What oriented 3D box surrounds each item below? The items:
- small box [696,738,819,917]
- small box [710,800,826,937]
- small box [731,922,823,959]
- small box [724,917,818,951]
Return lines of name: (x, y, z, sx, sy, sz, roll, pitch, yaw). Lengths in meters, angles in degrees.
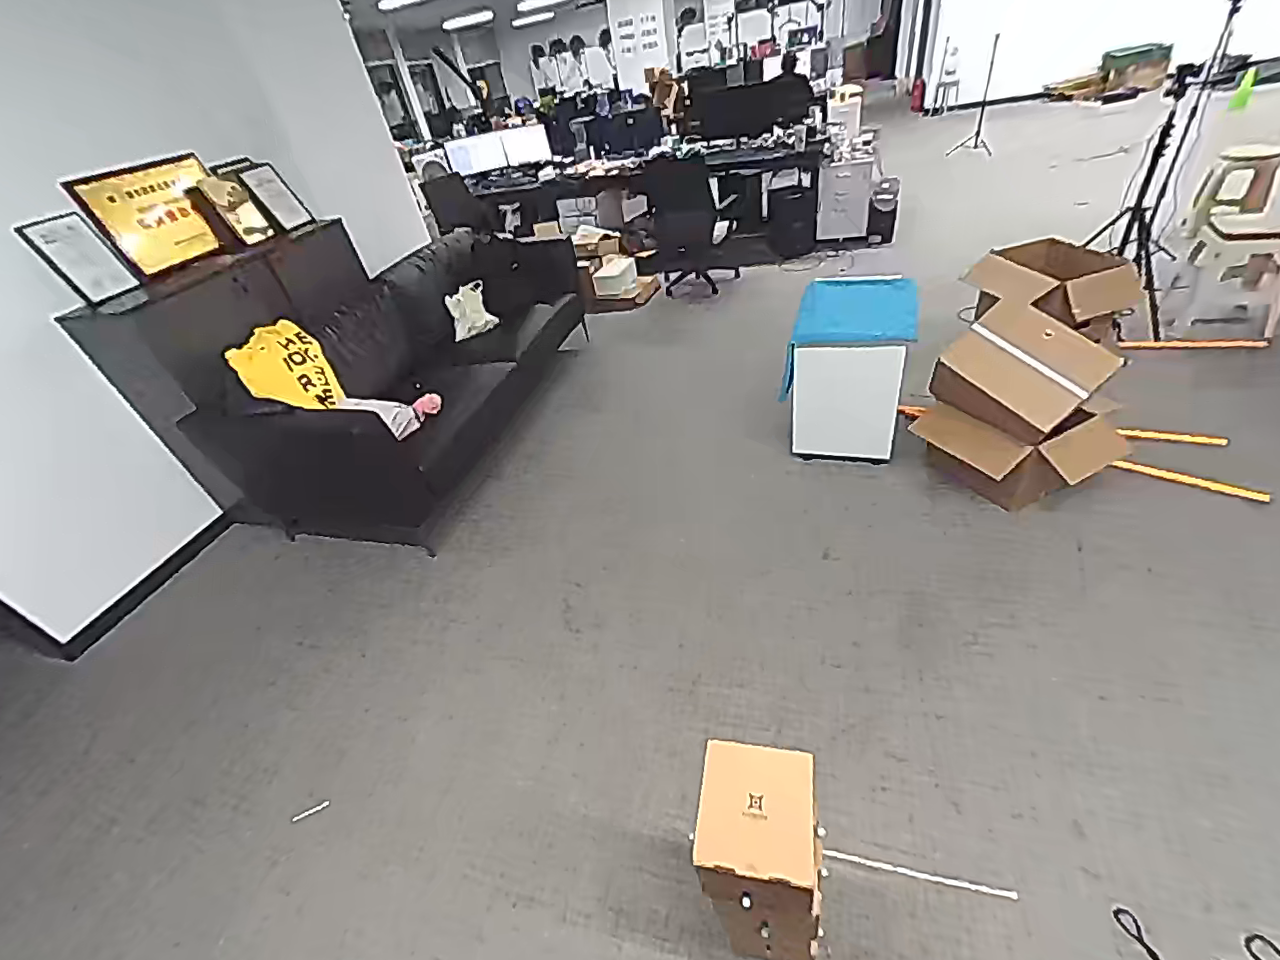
small box: (0.188, 0.536, 0.840, 0.168, 0.176, 0.179, 0, 41, 17)
small box: (0.226, 0.660, 0.940, 0.179, 0.176, 0.168, 1, 40, 17)
small box: (0.294, 0.904, 1.147, 0.179, 0.176, 0.168, 2, 40, 18)
small box: (0.255, 0.777, 1.051, 0.179, 0.176, 0.168, 2, 41, 18)
